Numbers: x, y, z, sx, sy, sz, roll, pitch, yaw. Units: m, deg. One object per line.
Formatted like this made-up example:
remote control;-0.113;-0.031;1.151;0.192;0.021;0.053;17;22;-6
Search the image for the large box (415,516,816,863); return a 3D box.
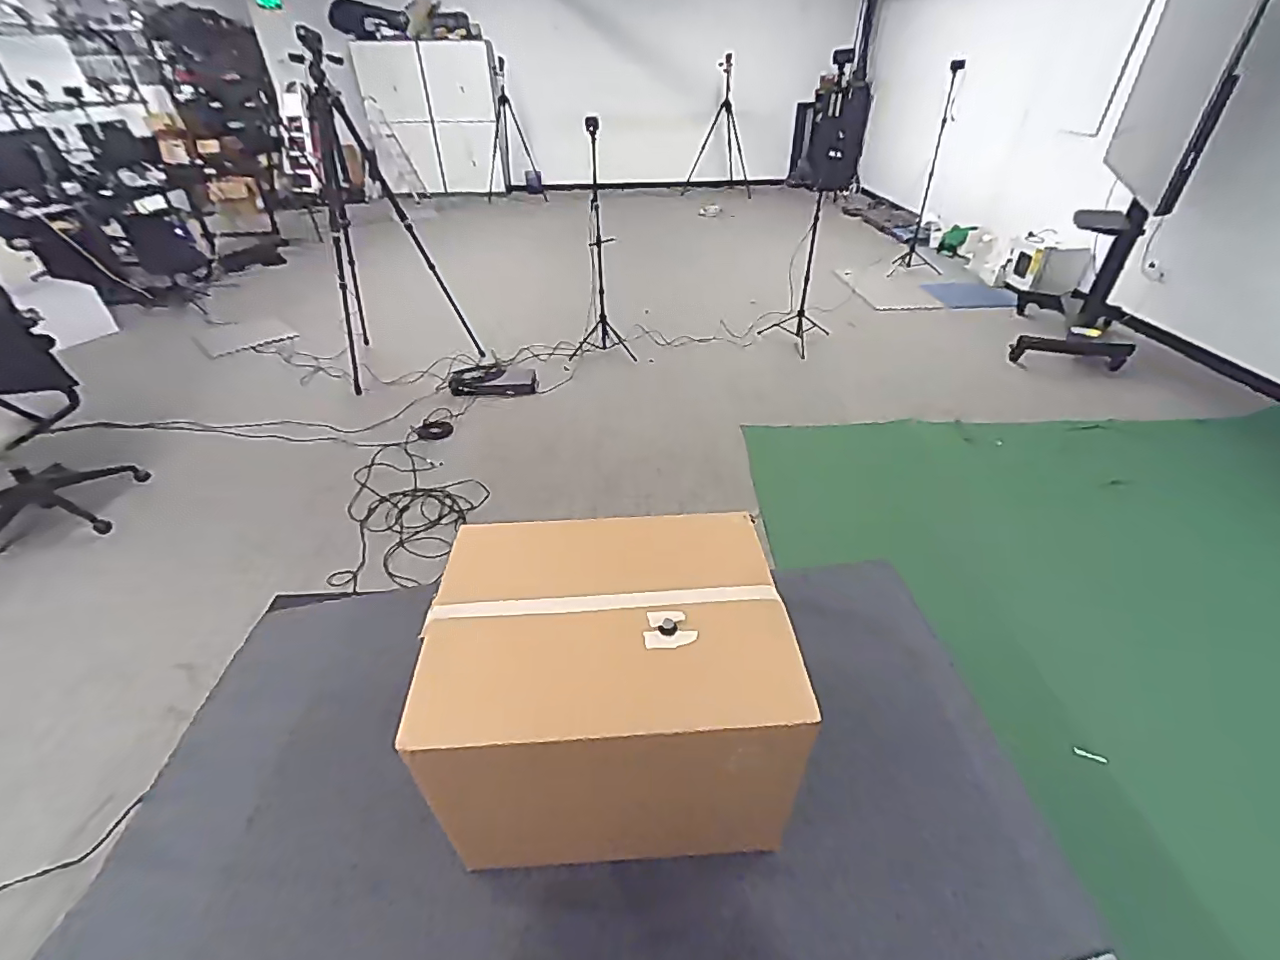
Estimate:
large box;-0.031;0.271;0.733;0.408;0.320;0.320;-3;38;-3
